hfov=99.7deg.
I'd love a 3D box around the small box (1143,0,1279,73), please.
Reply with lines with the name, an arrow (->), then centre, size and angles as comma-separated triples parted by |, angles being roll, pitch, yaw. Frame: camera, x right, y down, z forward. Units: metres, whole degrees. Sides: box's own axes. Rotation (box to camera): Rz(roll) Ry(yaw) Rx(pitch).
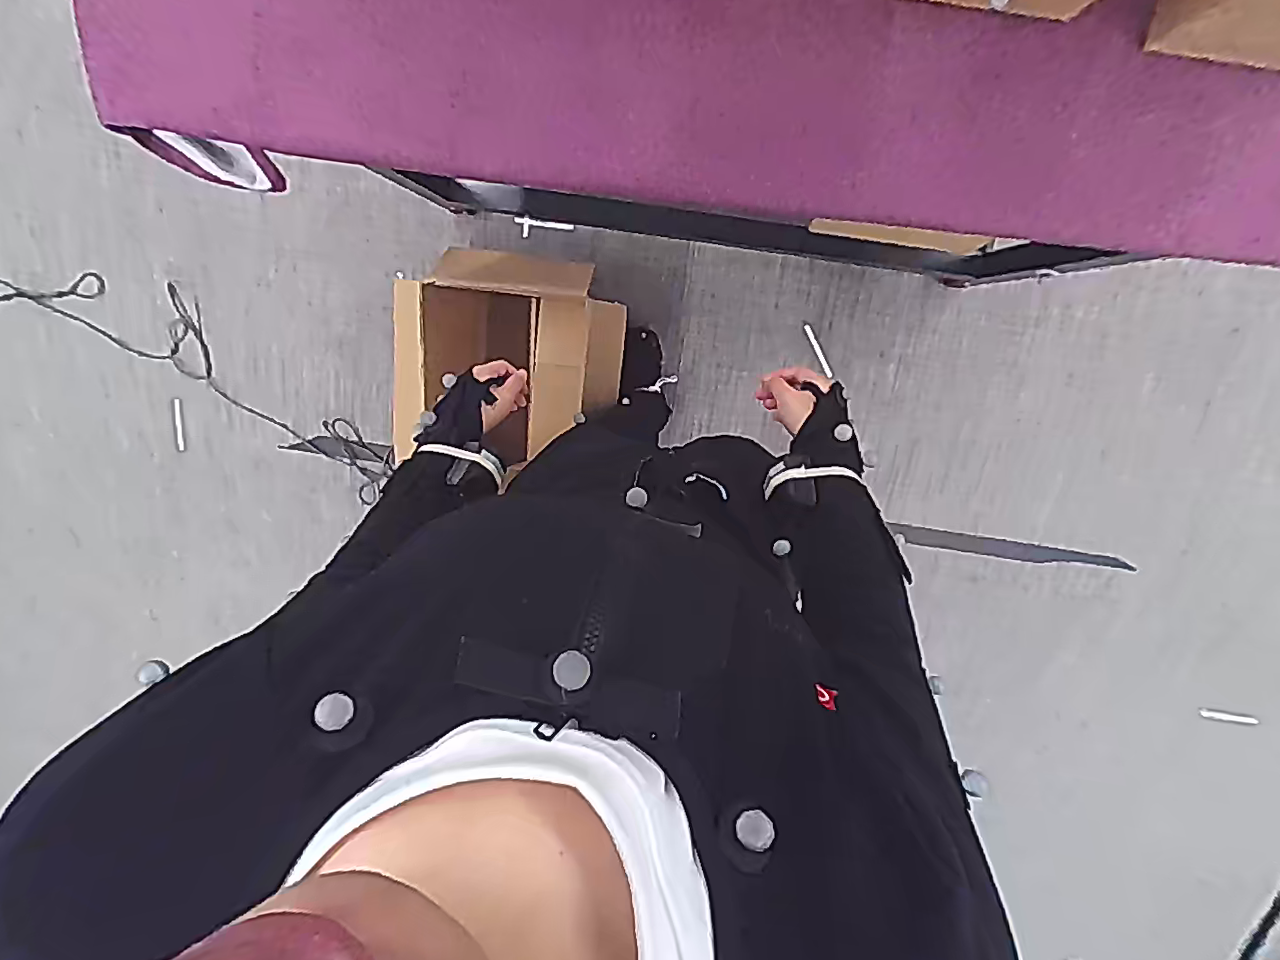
small box -> 0.549, -0.435, 0.396 | 0.179, 0.176, 0.168 | 9, 104, 0

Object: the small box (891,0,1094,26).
small box -> 0.308, -0.483, 0.393 | 0.179, 0.176, 0.168 | 9, 105, 1
